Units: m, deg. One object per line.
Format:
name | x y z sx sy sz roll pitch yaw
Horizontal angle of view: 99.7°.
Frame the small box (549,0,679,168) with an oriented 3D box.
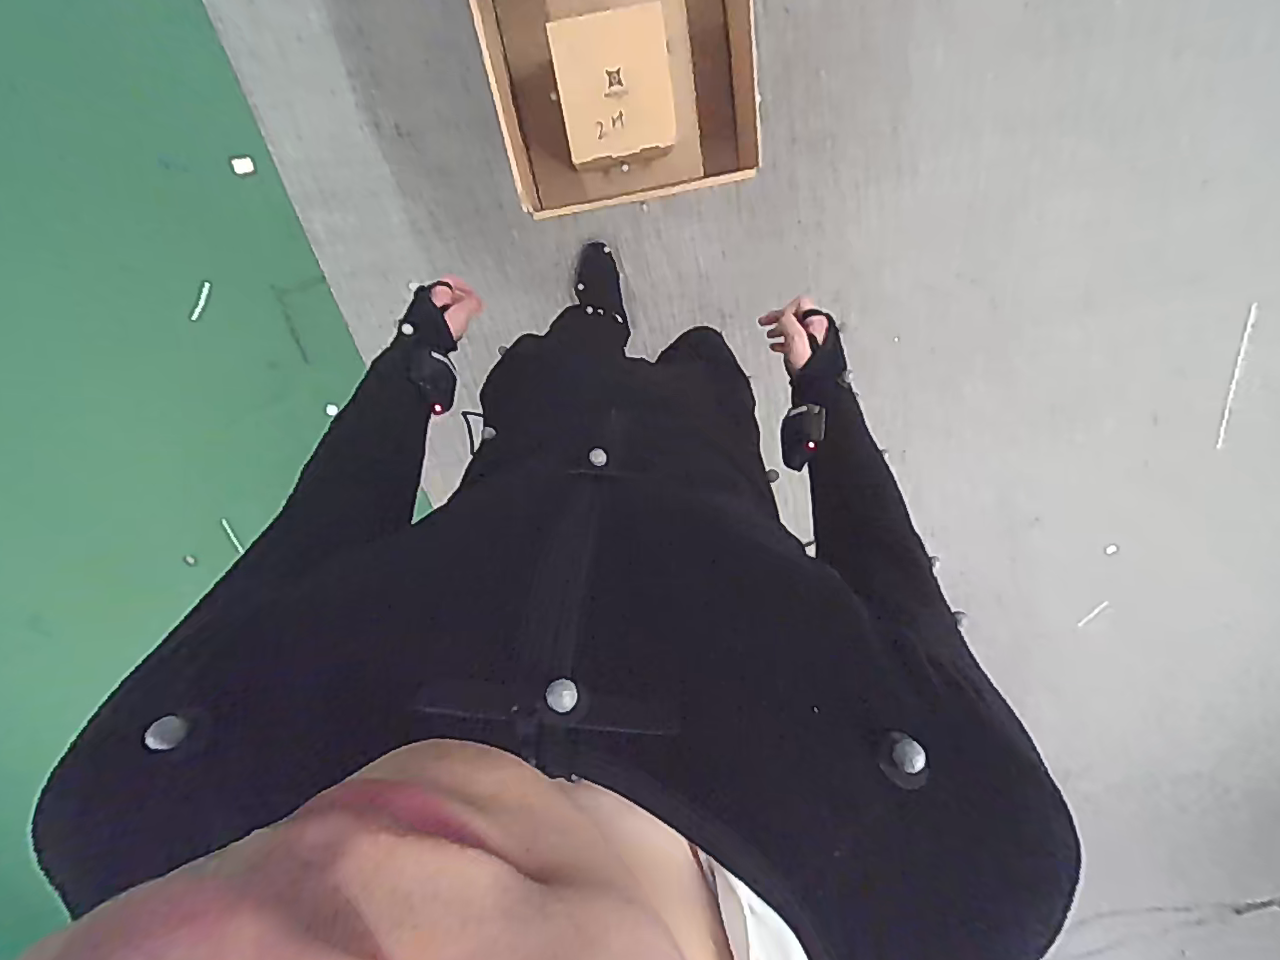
small box | -0.038 -0.611 0.850 0.168 0.176 0.179 -10 115 3
